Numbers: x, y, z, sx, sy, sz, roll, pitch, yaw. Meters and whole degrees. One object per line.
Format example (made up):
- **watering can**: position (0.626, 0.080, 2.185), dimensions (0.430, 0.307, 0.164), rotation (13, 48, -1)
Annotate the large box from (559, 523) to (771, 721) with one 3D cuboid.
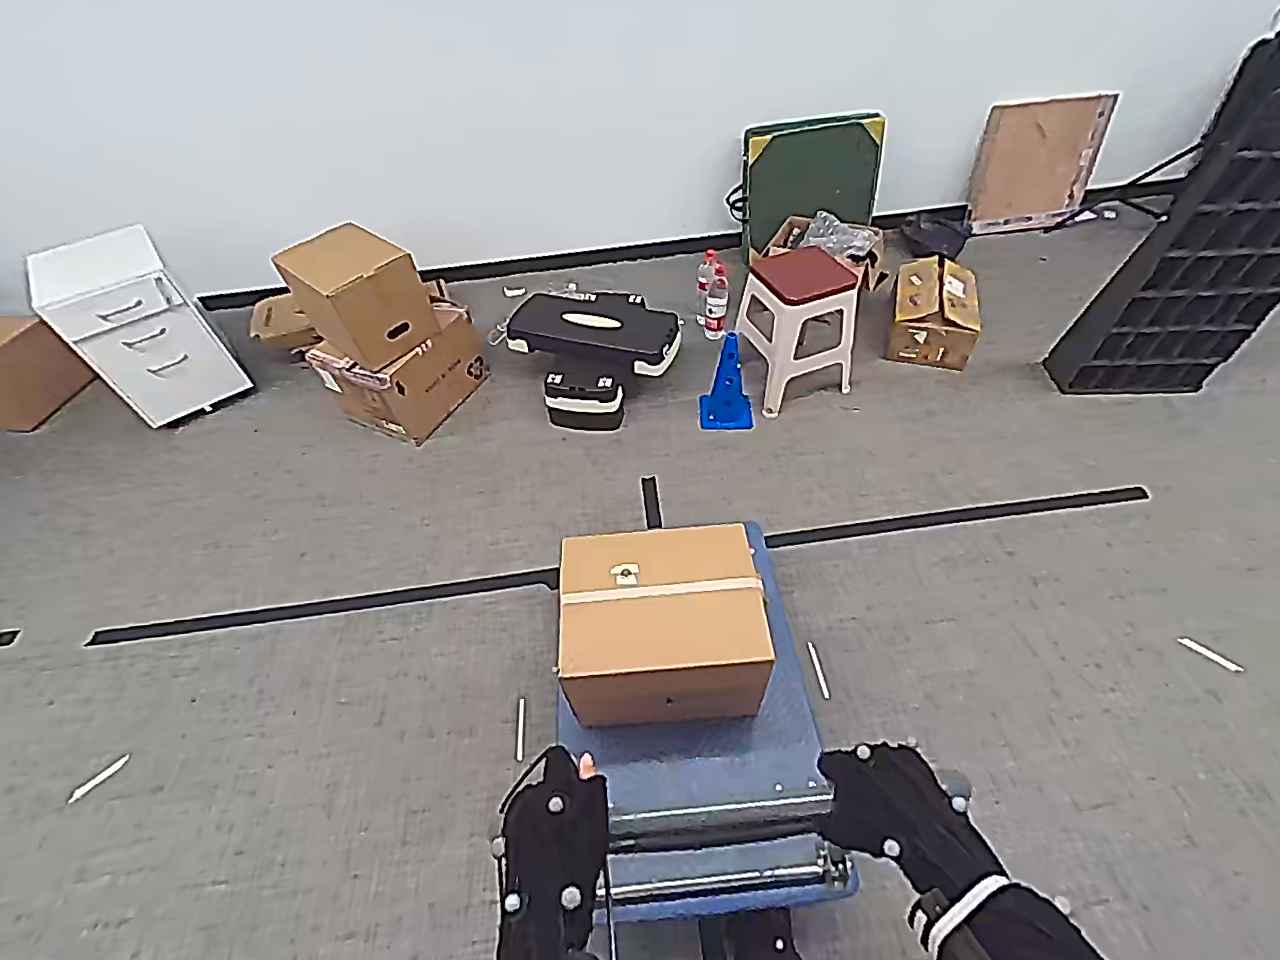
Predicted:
- **large box**: position (0.048, 0.325, 1.213), dimensions (0.408, 0.320, 0.320), rotation (-5, 50, 1)
